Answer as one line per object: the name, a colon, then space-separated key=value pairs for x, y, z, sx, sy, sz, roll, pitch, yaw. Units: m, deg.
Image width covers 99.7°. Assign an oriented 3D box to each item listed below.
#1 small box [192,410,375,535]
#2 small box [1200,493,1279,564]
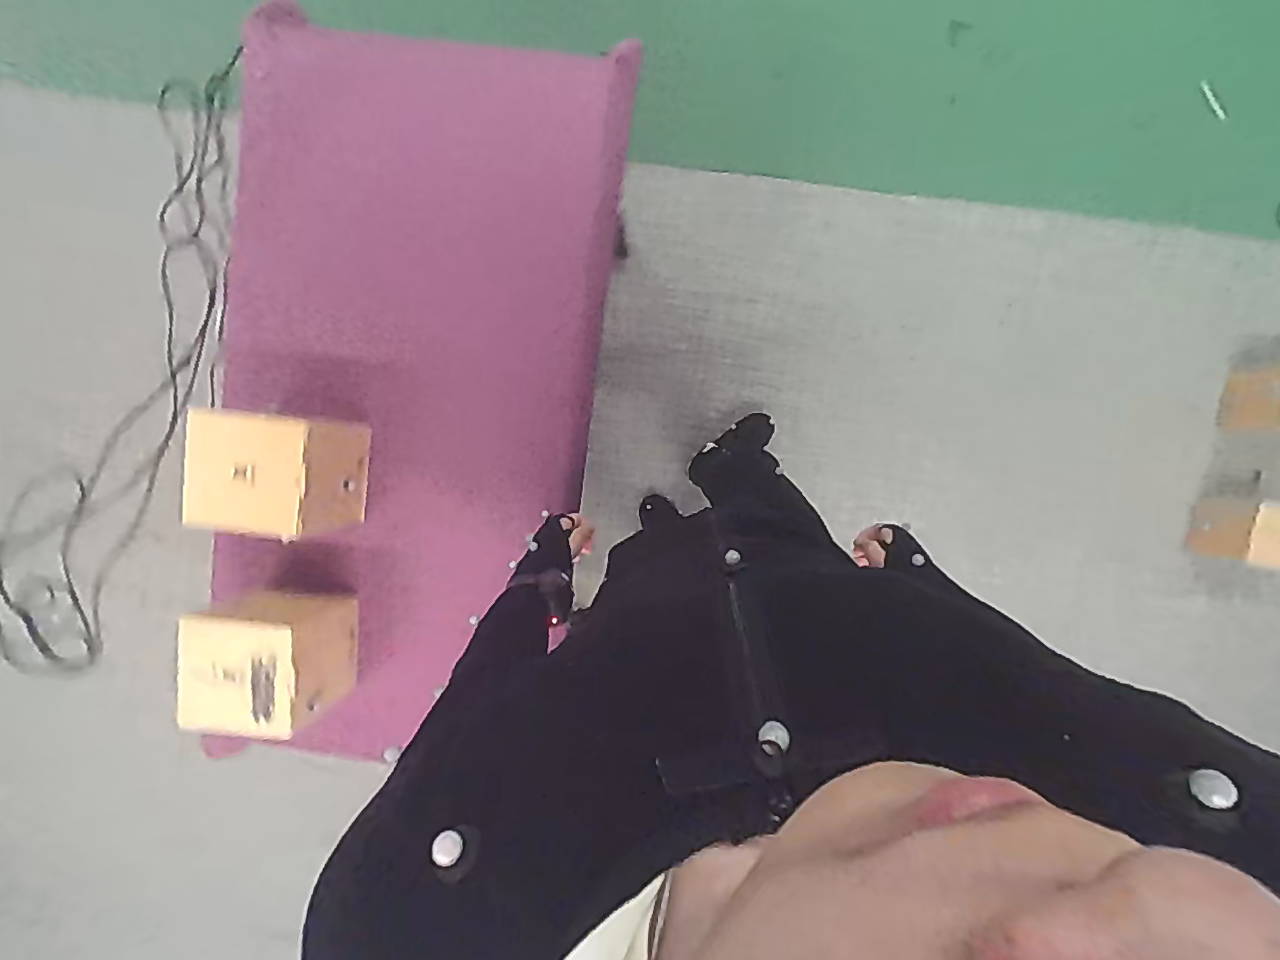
small box: x=-0.556 y=-0.015 z=0.861 sx=0.179 sy=0.176 sz=0.168 roll=6 pitch=94 yaw=2
small box: x=1.677 y=0.133 z=1.439 sx=0.179 sy=0.176 sz=0.168 roll=10 pitch=94 yaw=3
